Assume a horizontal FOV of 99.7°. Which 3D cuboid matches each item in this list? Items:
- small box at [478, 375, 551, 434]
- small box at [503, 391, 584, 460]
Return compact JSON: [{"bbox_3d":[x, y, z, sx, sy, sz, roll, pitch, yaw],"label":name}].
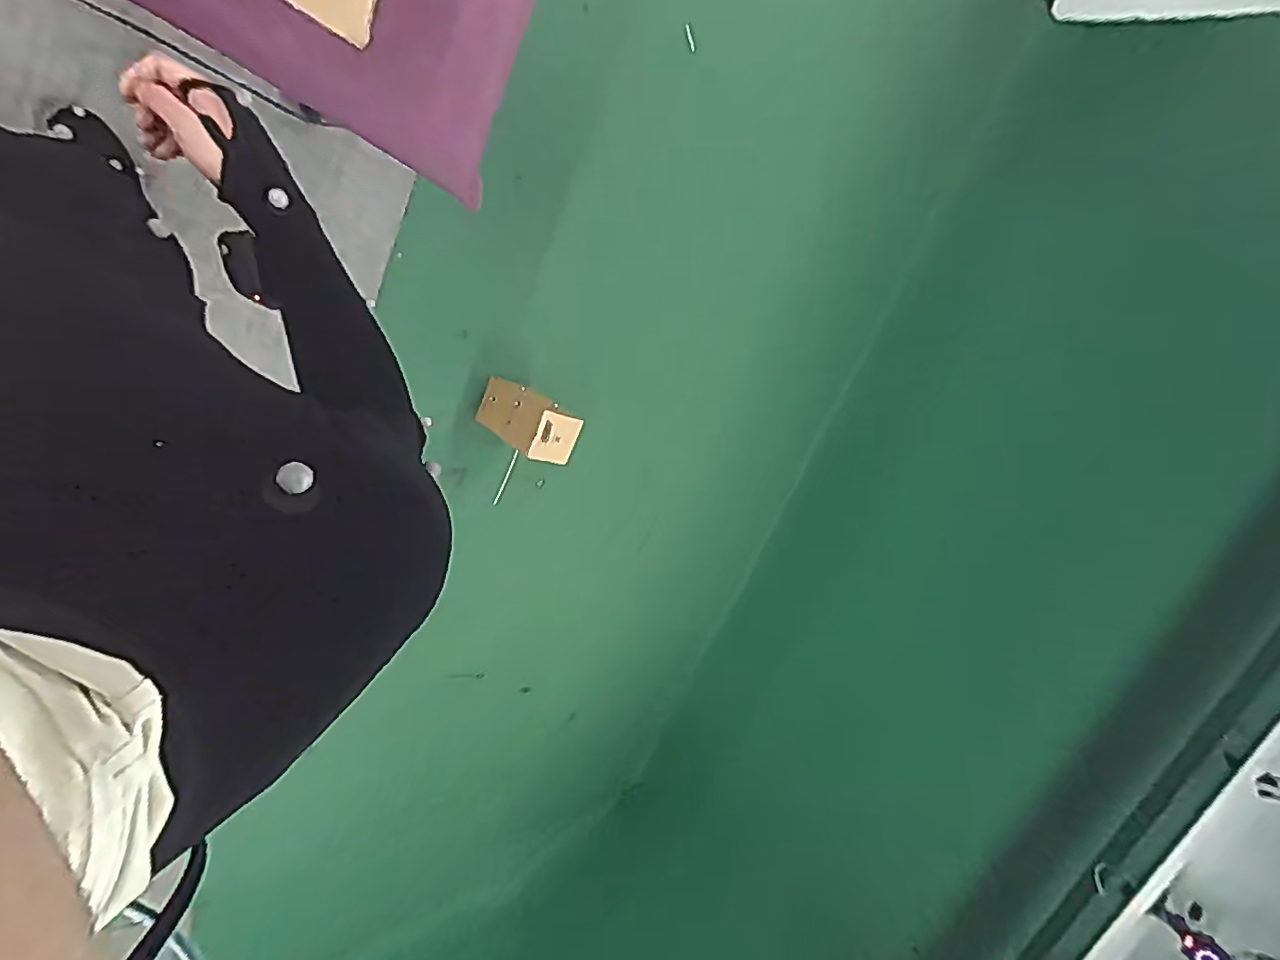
[{"bbox_3d":[-0.438,-0.256,1.909,0.179,0.176,0.168,10,109,-51],"label":"small box"},{"bbox_3d":[-0.328,-0.184,1.811,0.179,0.176,0.168,9,109,-52],"label":"small box"}]
